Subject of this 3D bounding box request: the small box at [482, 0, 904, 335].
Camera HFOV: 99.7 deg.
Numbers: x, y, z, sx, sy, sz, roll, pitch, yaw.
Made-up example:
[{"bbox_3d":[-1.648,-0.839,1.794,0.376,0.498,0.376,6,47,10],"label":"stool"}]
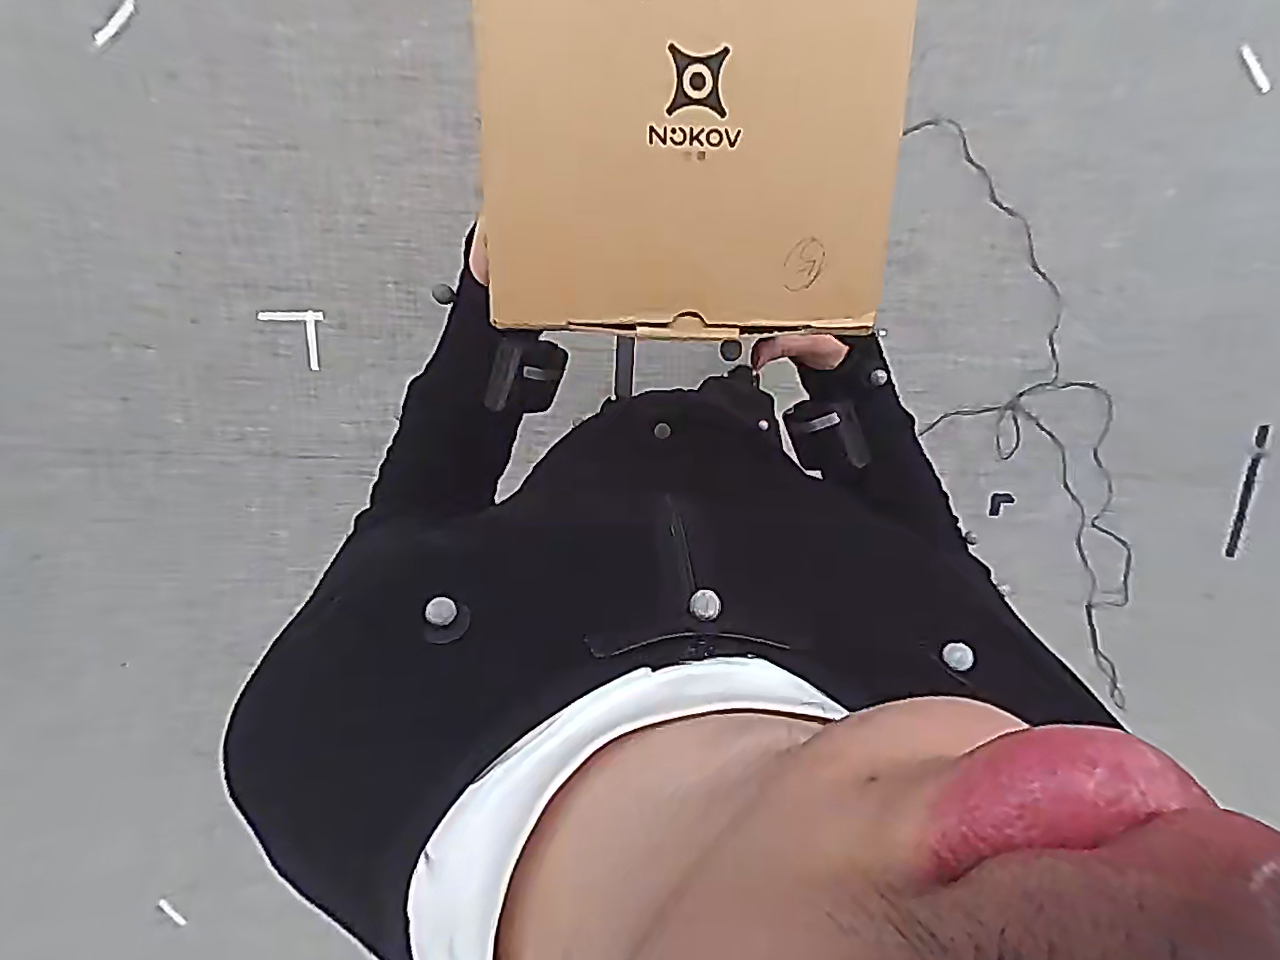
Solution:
[{"bbox_3d":[0.015,-0.172,0.294,0.168,0.176,0.179,-1,106,-4],"label":"small box"}]
